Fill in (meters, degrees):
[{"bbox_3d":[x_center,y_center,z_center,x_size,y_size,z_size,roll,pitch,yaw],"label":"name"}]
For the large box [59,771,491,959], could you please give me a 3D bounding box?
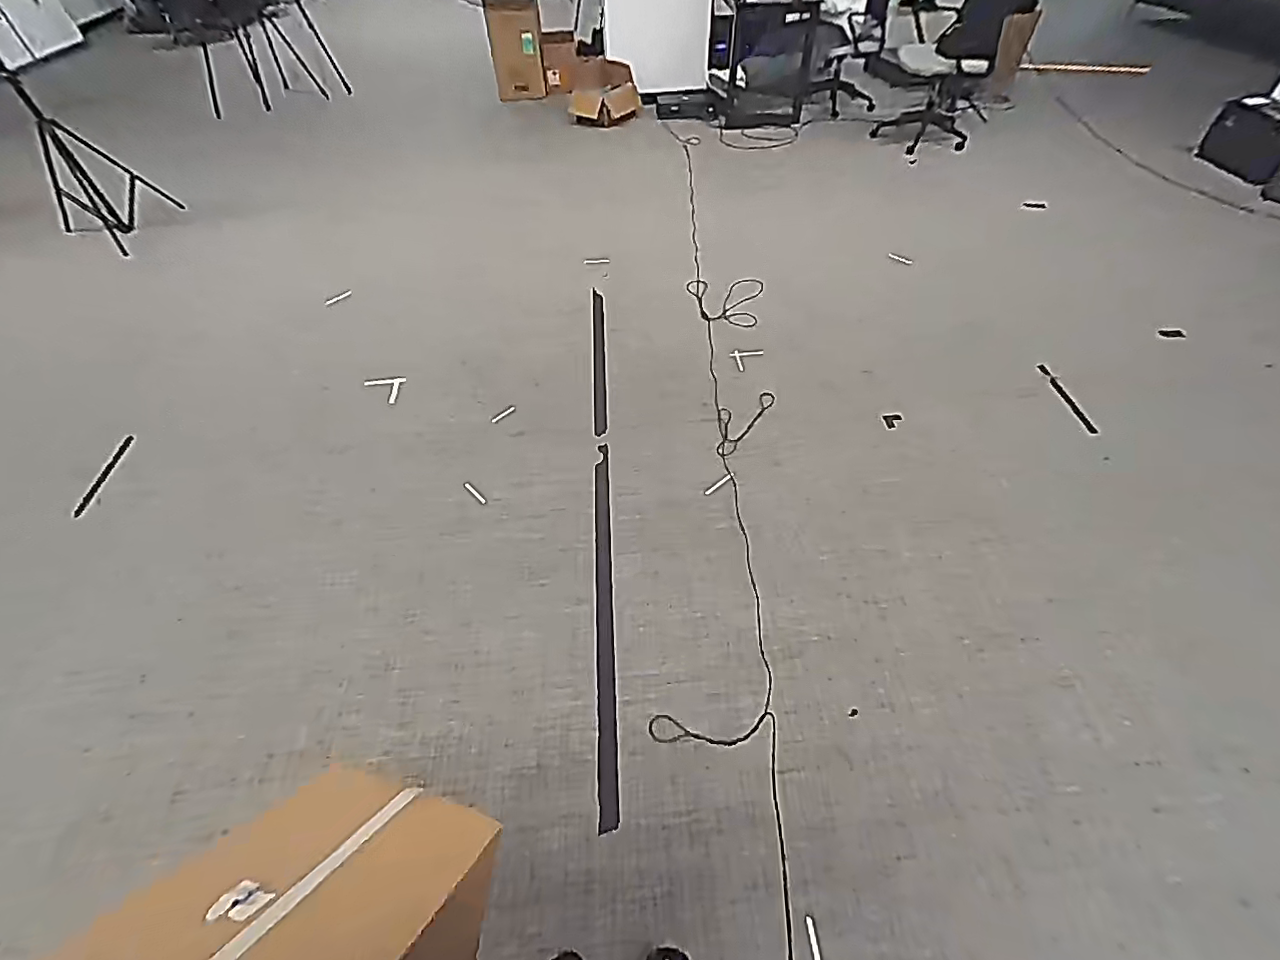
[{"bbox_3d":[-0.447,0.671,0.700,0.320,0.408,0.320,11,92,13],"label":"large box"}]
